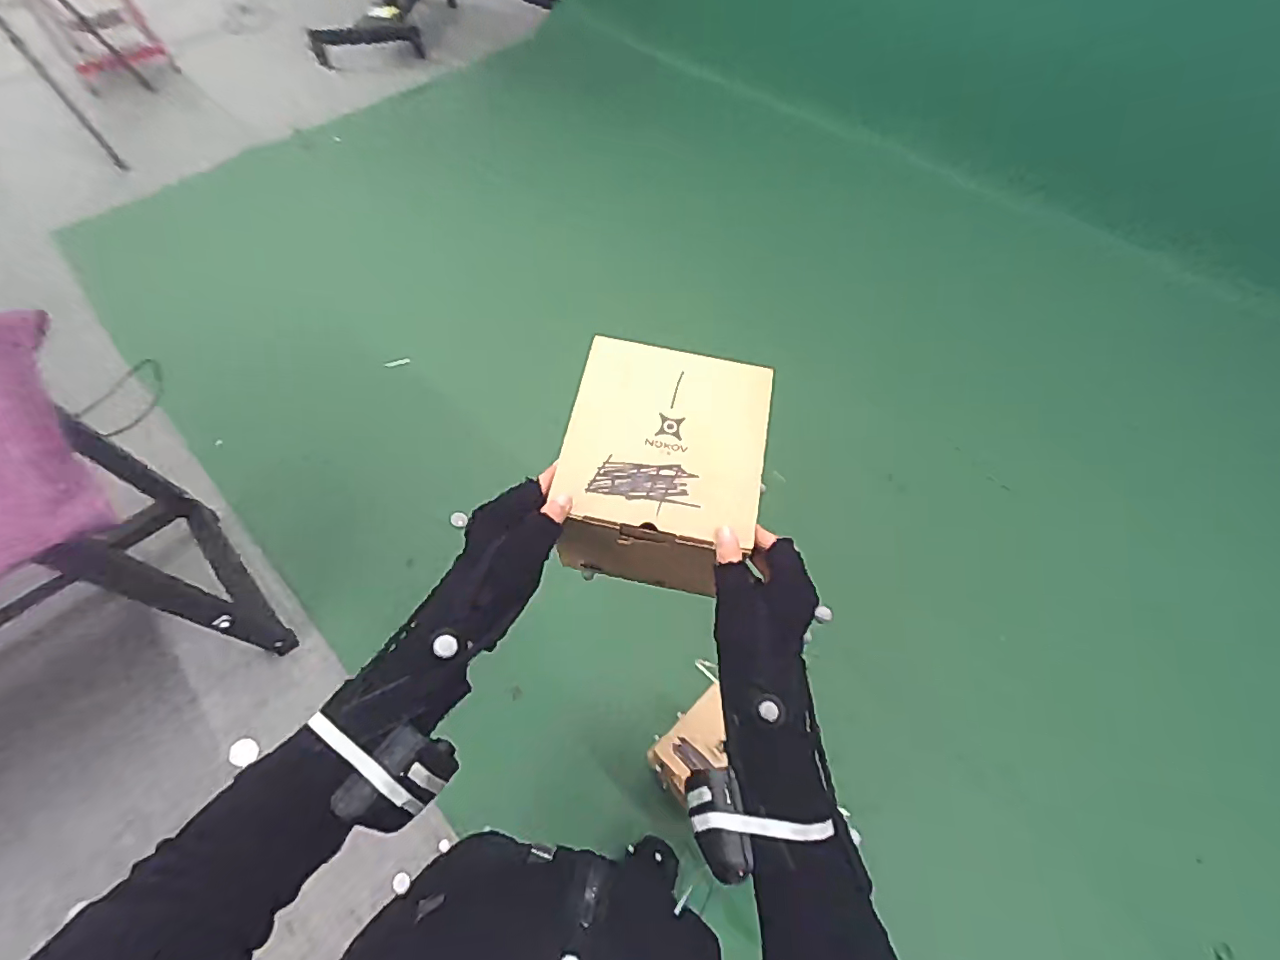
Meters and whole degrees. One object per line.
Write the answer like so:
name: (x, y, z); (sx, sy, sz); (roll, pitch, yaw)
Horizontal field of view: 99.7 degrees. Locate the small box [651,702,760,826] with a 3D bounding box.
small box: (0.138, 0.628, 1.204); (0.179, 0.176, 0.168); (-38, 66, -18)
